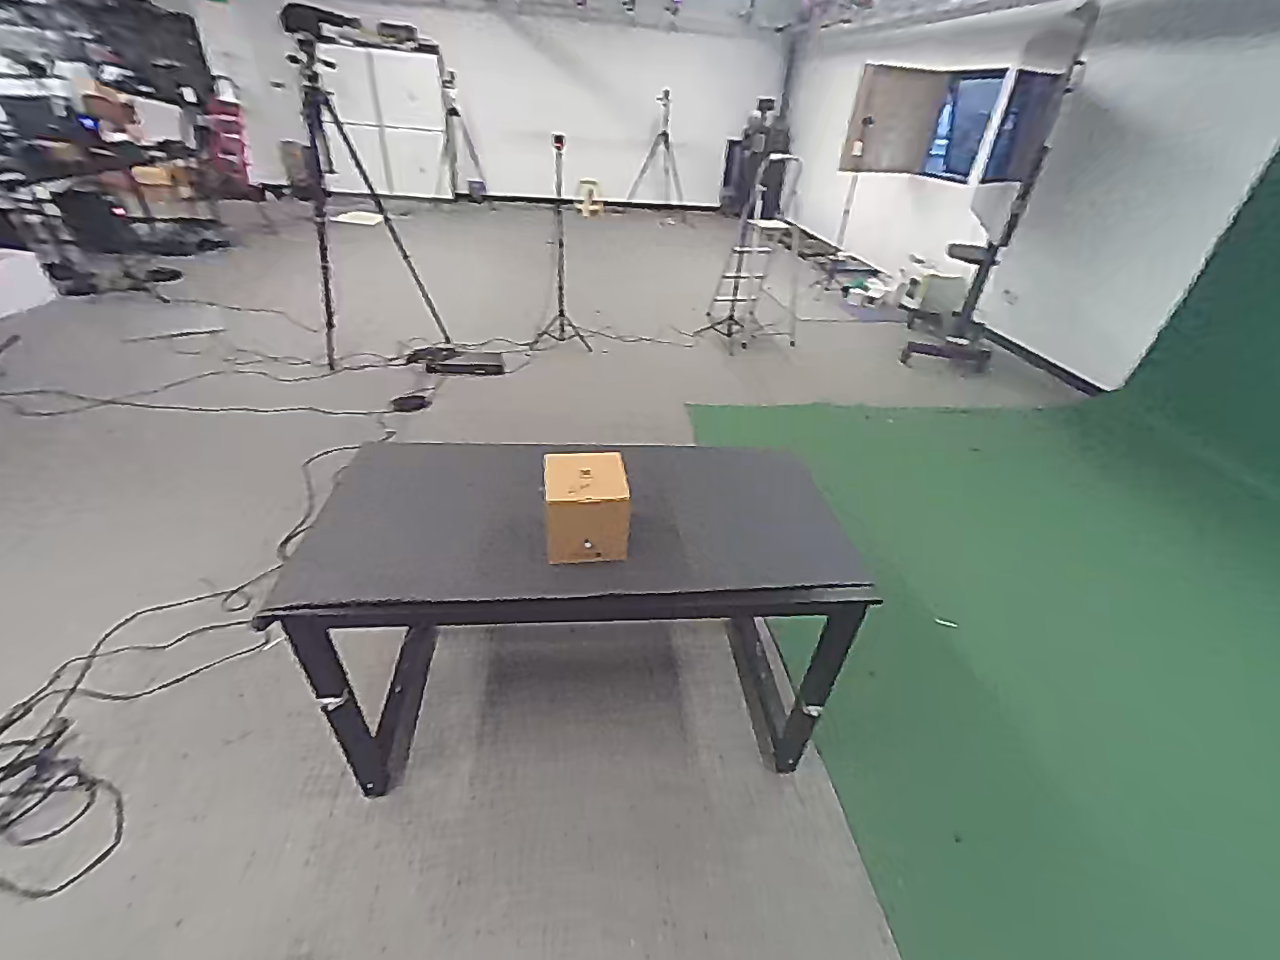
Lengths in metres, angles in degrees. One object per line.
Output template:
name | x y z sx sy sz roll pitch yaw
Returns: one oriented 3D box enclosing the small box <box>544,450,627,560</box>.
small box | -0.123 0.052 1.161 0.168 0.176 0.179 -2 34 -10
